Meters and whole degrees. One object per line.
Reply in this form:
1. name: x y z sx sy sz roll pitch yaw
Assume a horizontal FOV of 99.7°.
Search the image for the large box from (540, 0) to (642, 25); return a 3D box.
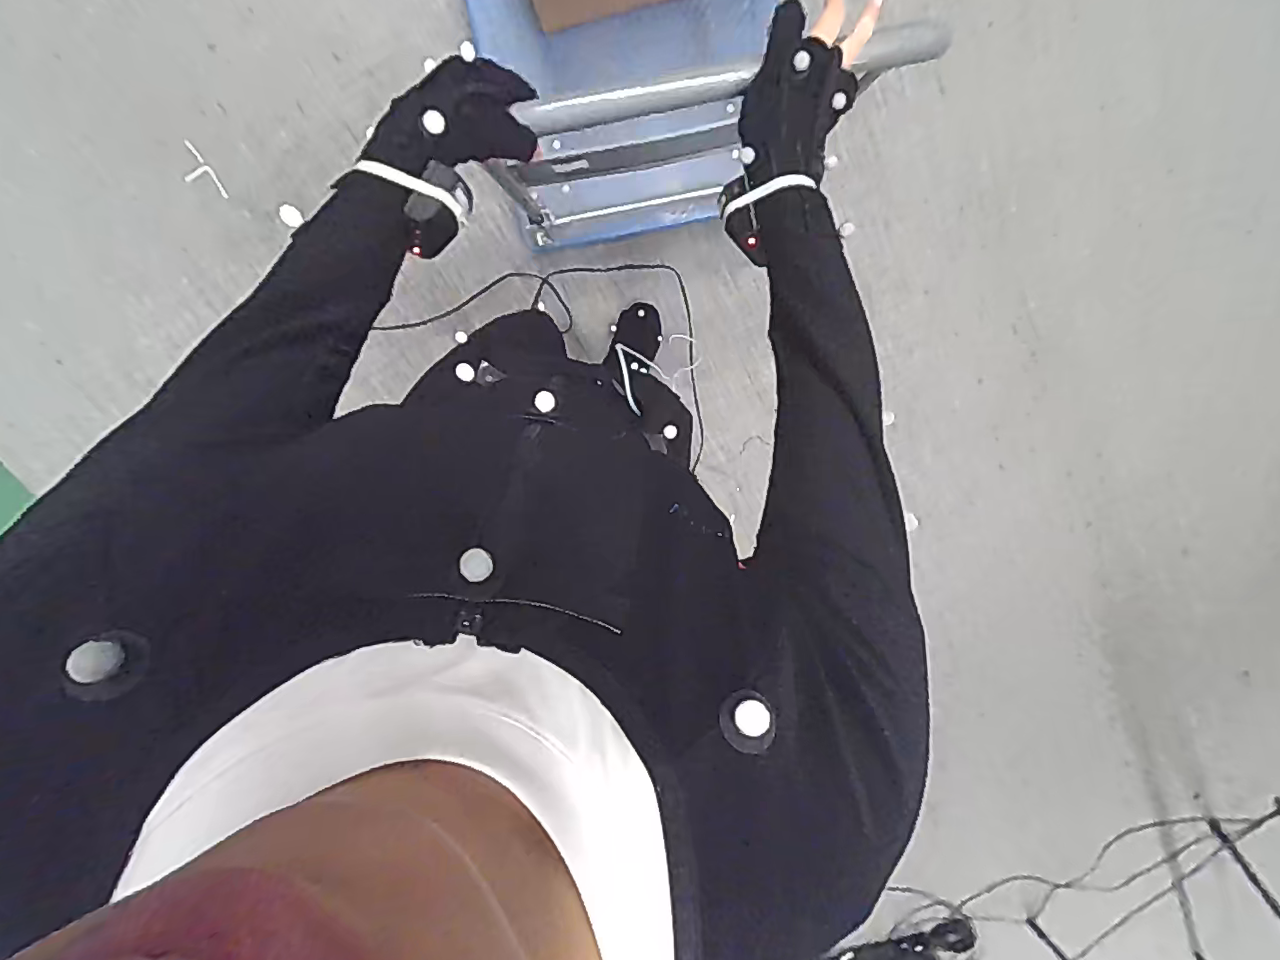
1. large box: -0.009 -0.978 0.814 0.408 0.320 0.320 -12 111 4
